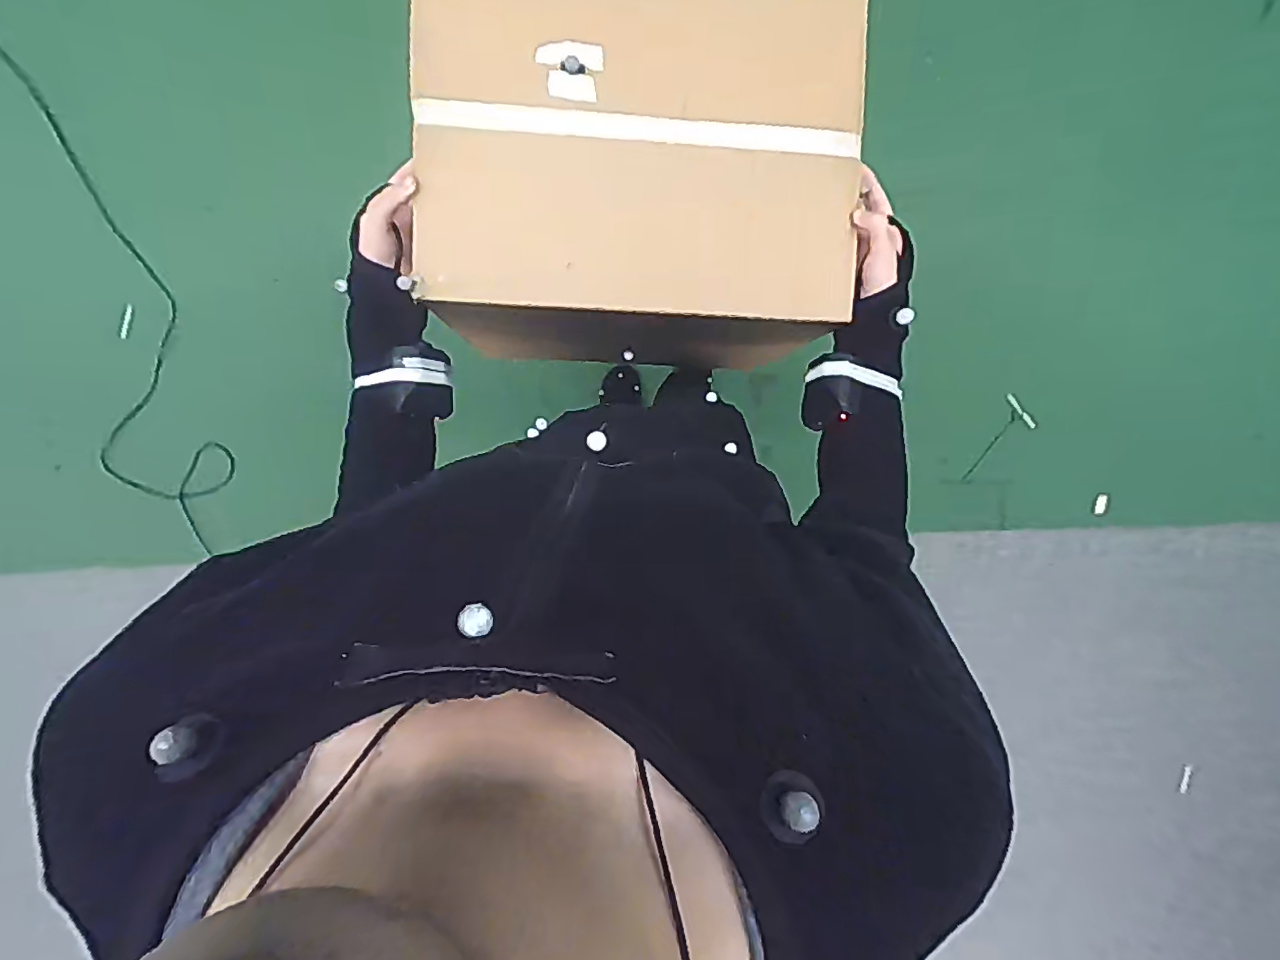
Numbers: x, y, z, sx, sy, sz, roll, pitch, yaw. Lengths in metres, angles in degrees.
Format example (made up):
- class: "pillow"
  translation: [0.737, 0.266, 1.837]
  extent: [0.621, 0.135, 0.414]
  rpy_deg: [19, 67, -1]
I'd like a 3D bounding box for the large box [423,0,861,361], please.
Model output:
- class: "large box"
  translation: [-0.005, -0.322, 0.646]
  extent: [0.408, 0.320, 0.320]
  rpy_deg: [2, 93, -4]
